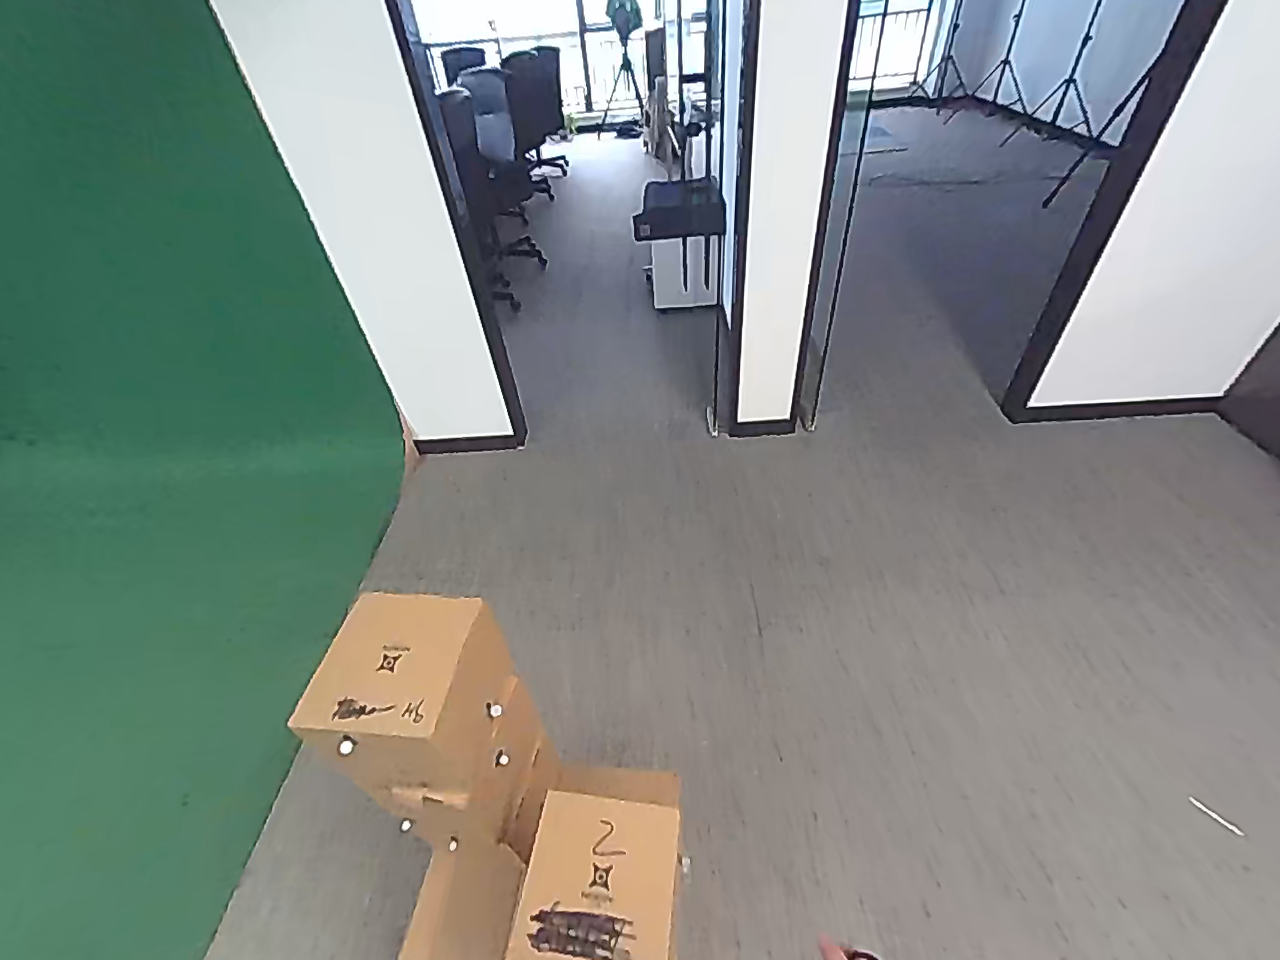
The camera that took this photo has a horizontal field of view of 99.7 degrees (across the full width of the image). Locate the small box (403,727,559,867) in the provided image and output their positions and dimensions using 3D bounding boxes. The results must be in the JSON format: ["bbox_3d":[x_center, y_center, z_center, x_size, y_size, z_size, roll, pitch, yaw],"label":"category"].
[{"bbox_3d":[-0.250,0.515,0.899,0.179,0.176,0.168,6,44,10],"label":"small box"}]

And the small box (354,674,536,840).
[{"bbox_3d":[-0.266,0.393,0.790,0.168,0.176,0.179,6,42,13],"label":"small box"}]

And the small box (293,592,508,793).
[{"bbox_3d":[-0.280,0.266,0.685,0.168,0.176,0.179,1,42,8],"label":"small box"}]

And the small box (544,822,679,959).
[{"bbox_3d":[-0.030,0.613,0.768,0.168,0.176,0.179,-1,43,5],"label":"small box"}]
